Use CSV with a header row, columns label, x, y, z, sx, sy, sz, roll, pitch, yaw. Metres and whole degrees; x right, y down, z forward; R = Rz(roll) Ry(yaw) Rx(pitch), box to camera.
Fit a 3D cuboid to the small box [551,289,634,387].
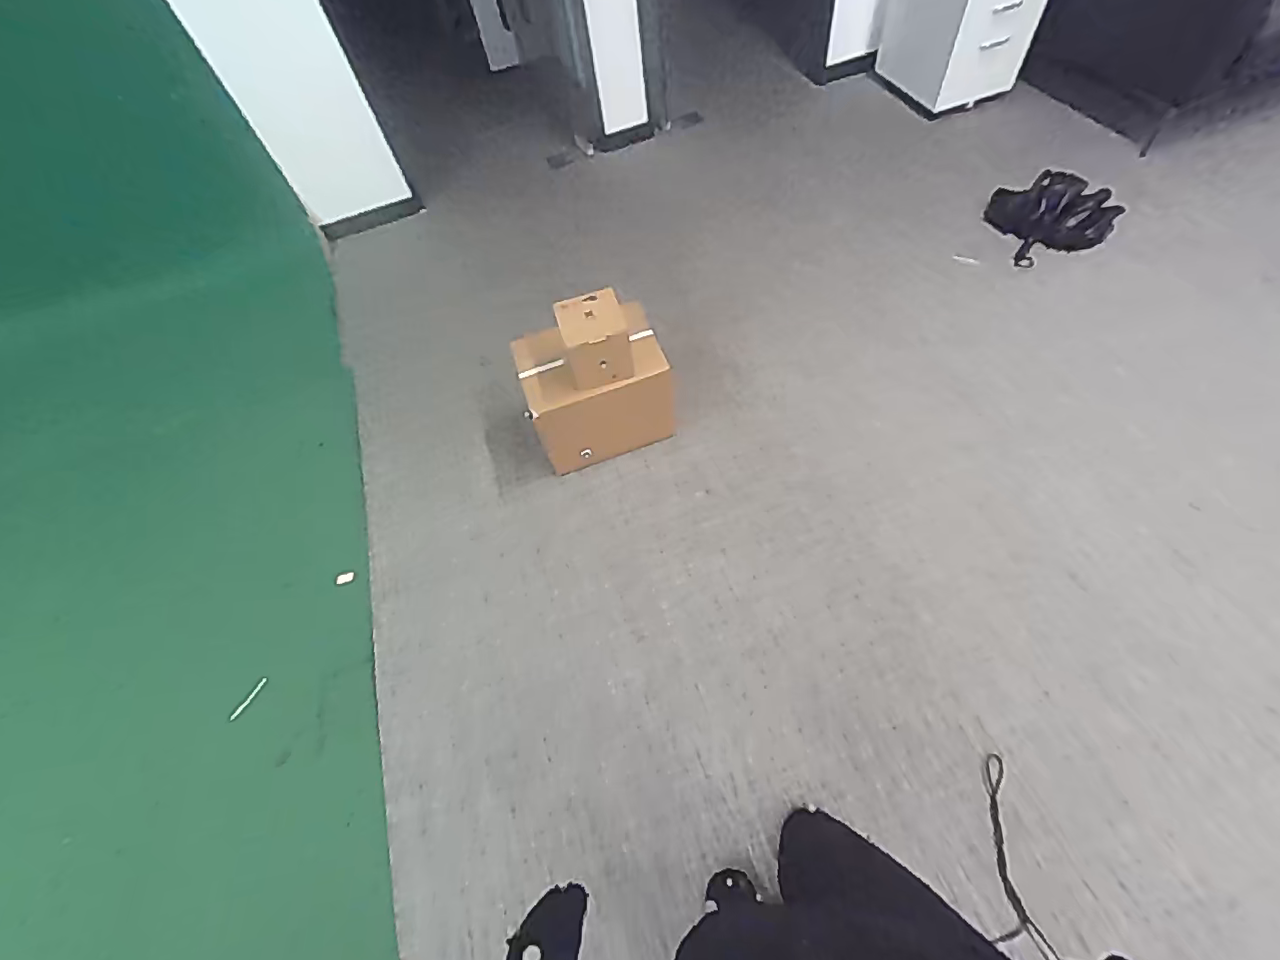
label,x,y,z,sx,sy,sz,roll,pitch,yaw
small box,-0.123,-0.373,1.452,0.168,0.176,0.179,-18,59,-2
